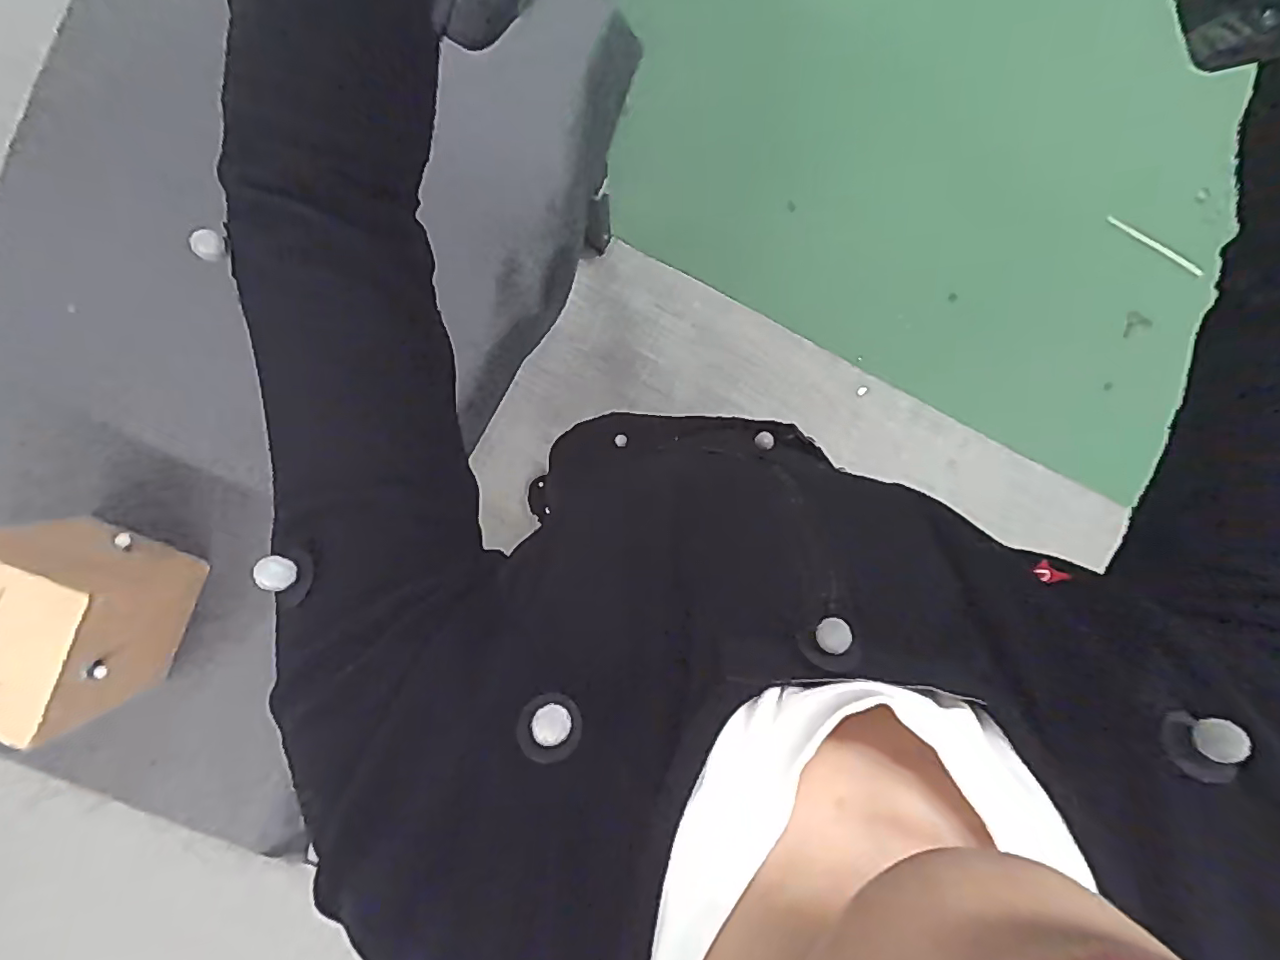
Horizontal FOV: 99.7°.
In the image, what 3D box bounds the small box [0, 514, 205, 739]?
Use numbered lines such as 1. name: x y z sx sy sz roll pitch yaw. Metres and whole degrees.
1. small box: -0.667 0.155 0.631 0.168 0.176 0.179 23 91 -4
